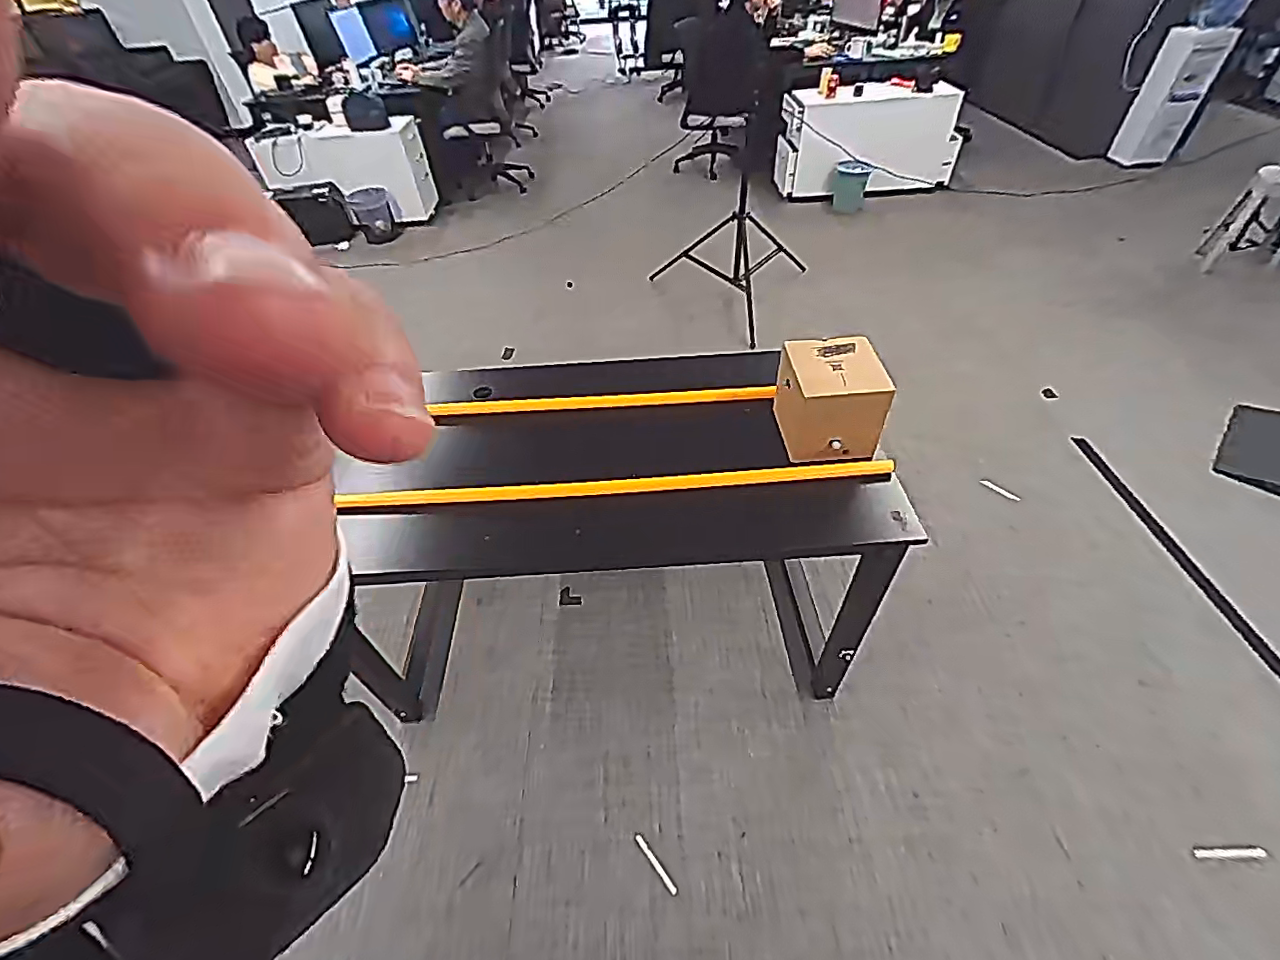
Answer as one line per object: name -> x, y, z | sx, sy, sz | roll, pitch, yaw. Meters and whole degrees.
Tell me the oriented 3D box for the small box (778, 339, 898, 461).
small box -> 0.379, -0.158, 1.075 | 0.168, 0.176, 0.179 | -4, 47, 1
